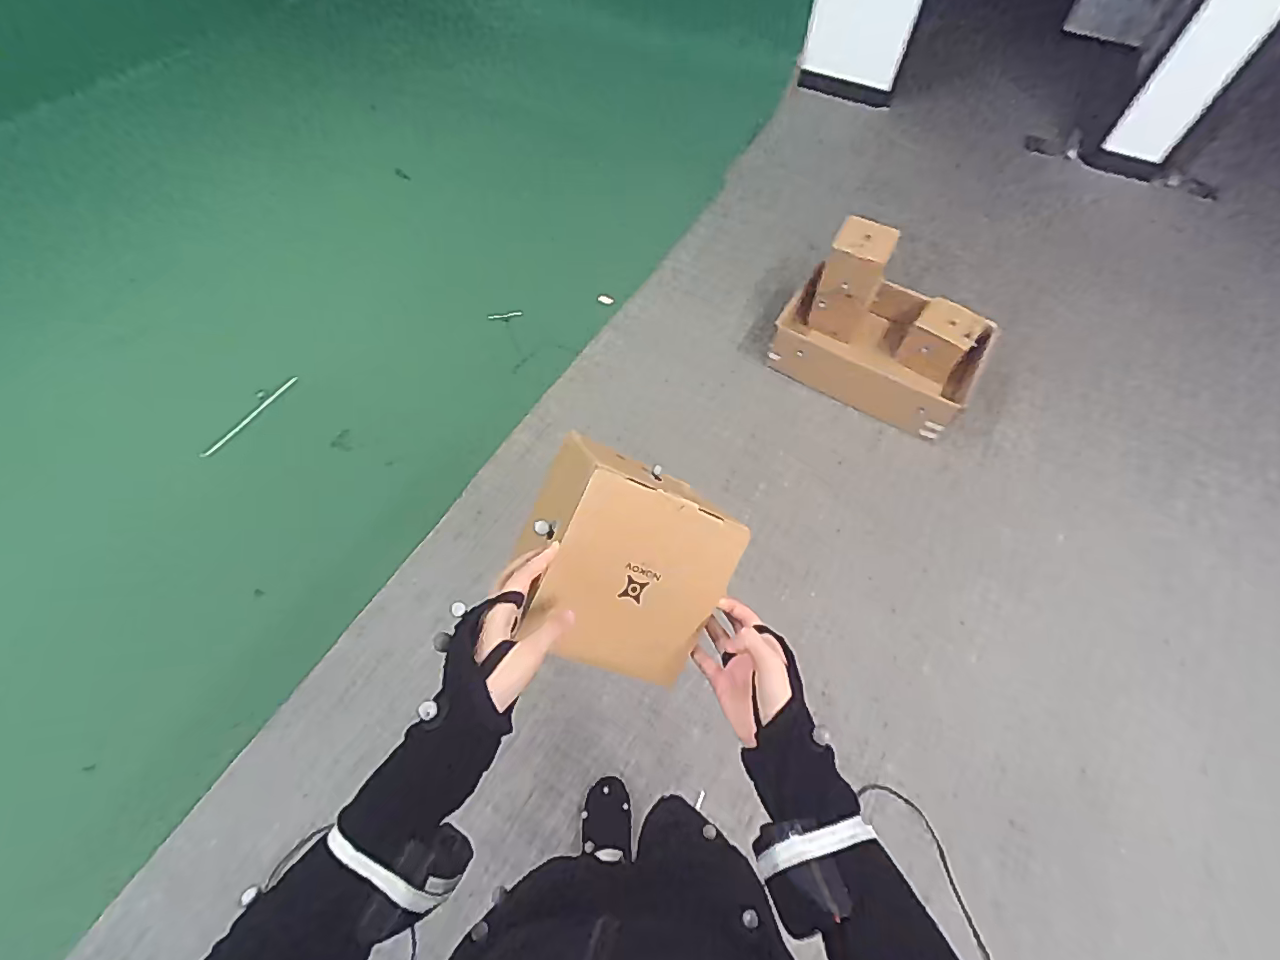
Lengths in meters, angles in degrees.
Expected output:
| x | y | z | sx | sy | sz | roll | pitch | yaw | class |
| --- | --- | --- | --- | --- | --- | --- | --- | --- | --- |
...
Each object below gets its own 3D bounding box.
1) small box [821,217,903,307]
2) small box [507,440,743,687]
| x | y | z | sx | sy | sz | roll | pitch | yaw | class |
| --- | --- | --- | --- | --- | --- | --- | --- | --- | --- |
| 0.693 | -0.683 | 1.704 | 0.168 | 0.176 | 0.179 | 26 | 65 | 15 | small box |
| -0.027 | 0.076 | 0.565 | 0.168 | 0.176 | 0.179 | 24 | 95 | -18 | small box |
